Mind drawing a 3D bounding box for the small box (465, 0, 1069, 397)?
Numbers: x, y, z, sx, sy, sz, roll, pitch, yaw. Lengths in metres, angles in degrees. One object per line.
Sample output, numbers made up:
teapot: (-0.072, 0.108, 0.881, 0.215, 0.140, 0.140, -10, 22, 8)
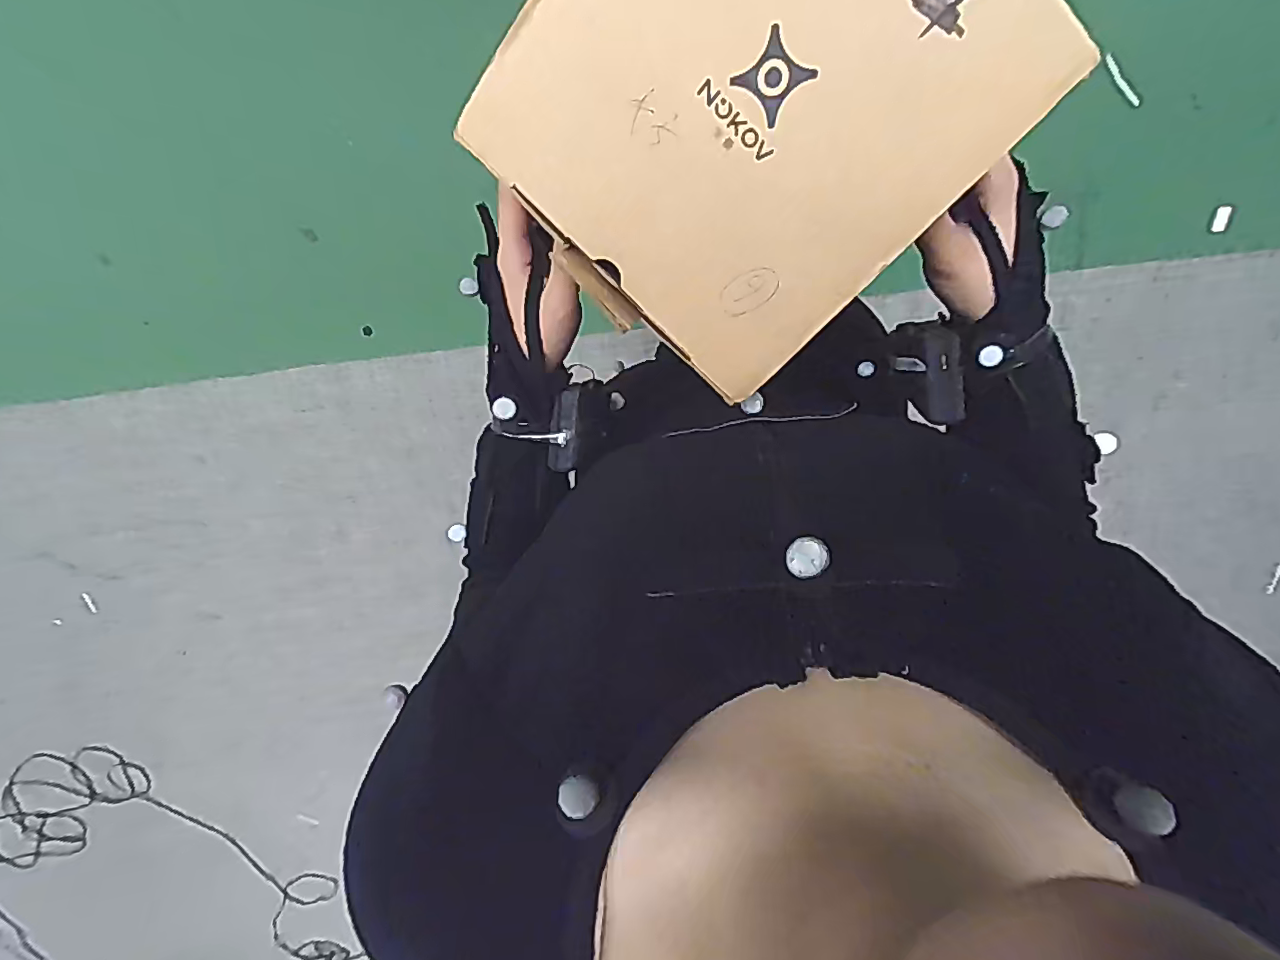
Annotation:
small box: (0.051, -0.176, 0.284, 0.168, 0.176, 0.179, 42, 112, -11)
